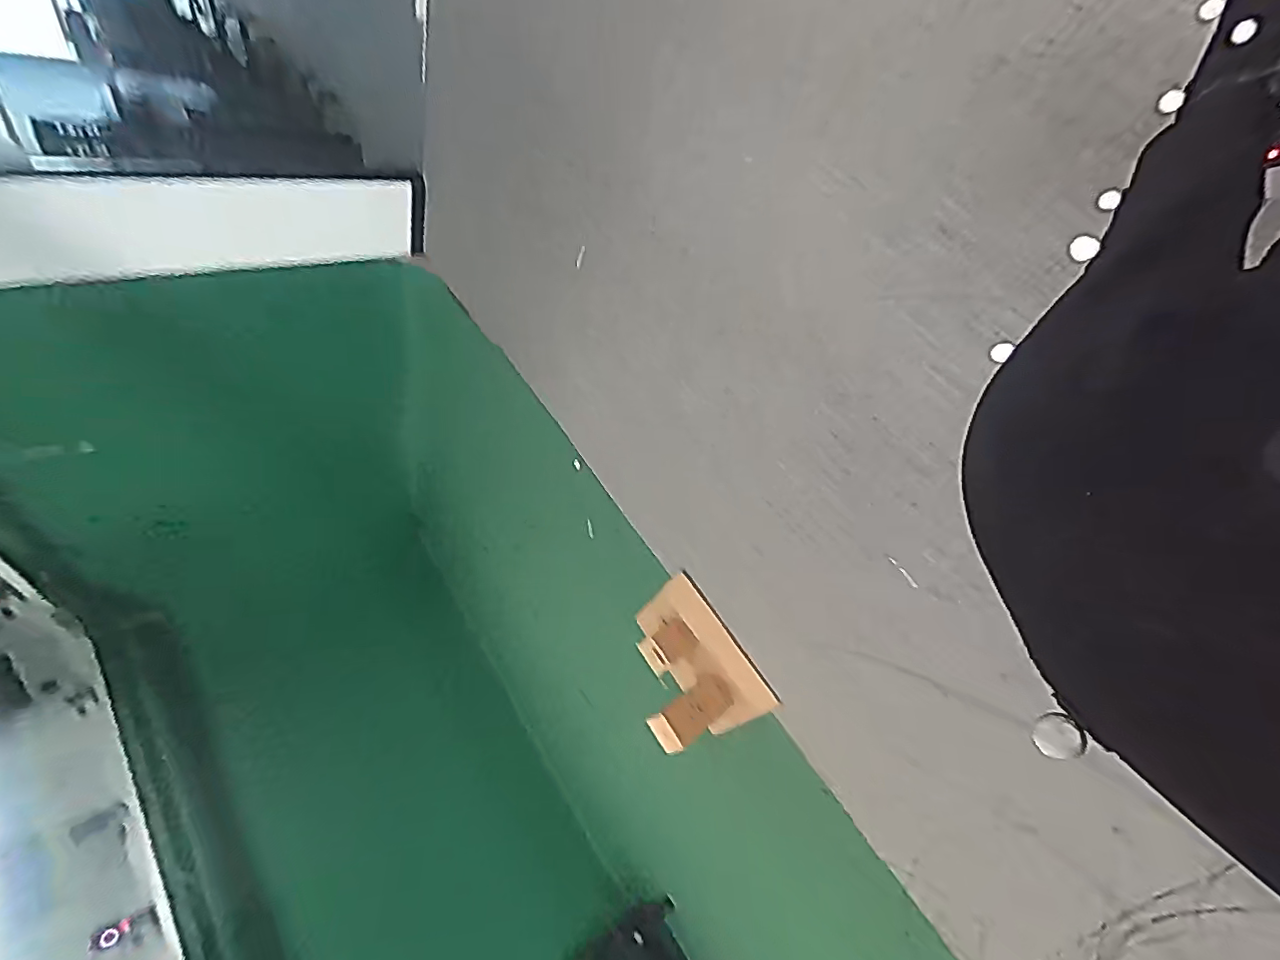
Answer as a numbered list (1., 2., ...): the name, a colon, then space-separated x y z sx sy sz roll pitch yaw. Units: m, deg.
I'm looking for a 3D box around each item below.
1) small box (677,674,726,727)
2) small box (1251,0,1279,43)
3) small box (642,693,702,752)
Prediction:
1. small box: 0.273 1.031 2.511 0.168 0.176 0.179 54 142 16
2. small box: 1.011 -0.701 0.737 0.168 0.176 0.179 50 140 23
3. small box: 0.146 1.085 2.425 0.168 0.176 0.179 55 142 15
